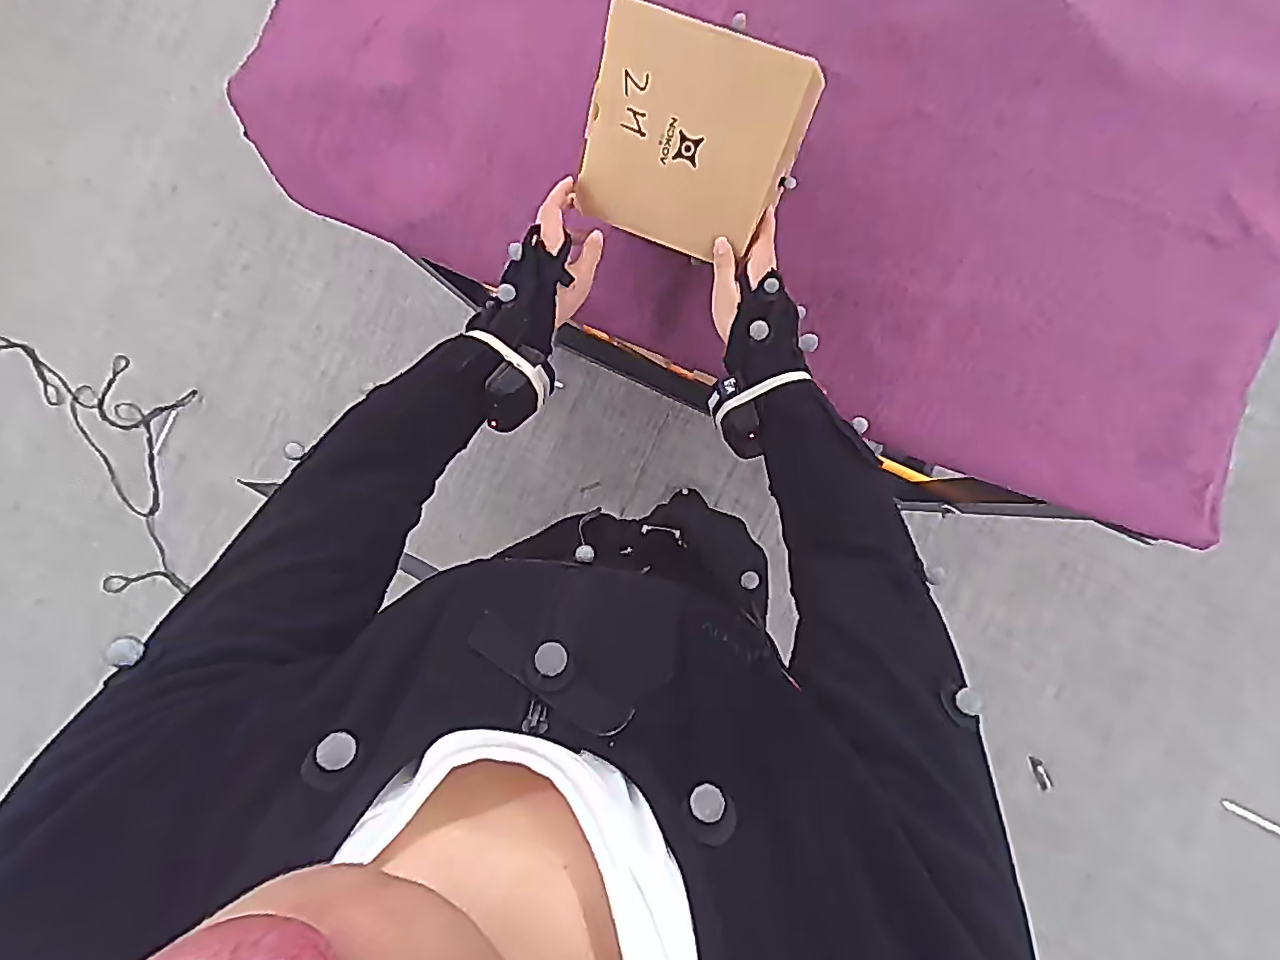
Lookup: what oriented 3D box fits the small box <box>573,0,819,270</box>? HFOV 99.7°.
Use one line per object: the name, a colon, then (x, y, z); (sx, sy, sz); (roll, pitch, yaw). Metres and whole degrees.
small box: (0.061, -0.331, 0.530); (0.179, 0.176, 0.168); (24, 125, 6)
